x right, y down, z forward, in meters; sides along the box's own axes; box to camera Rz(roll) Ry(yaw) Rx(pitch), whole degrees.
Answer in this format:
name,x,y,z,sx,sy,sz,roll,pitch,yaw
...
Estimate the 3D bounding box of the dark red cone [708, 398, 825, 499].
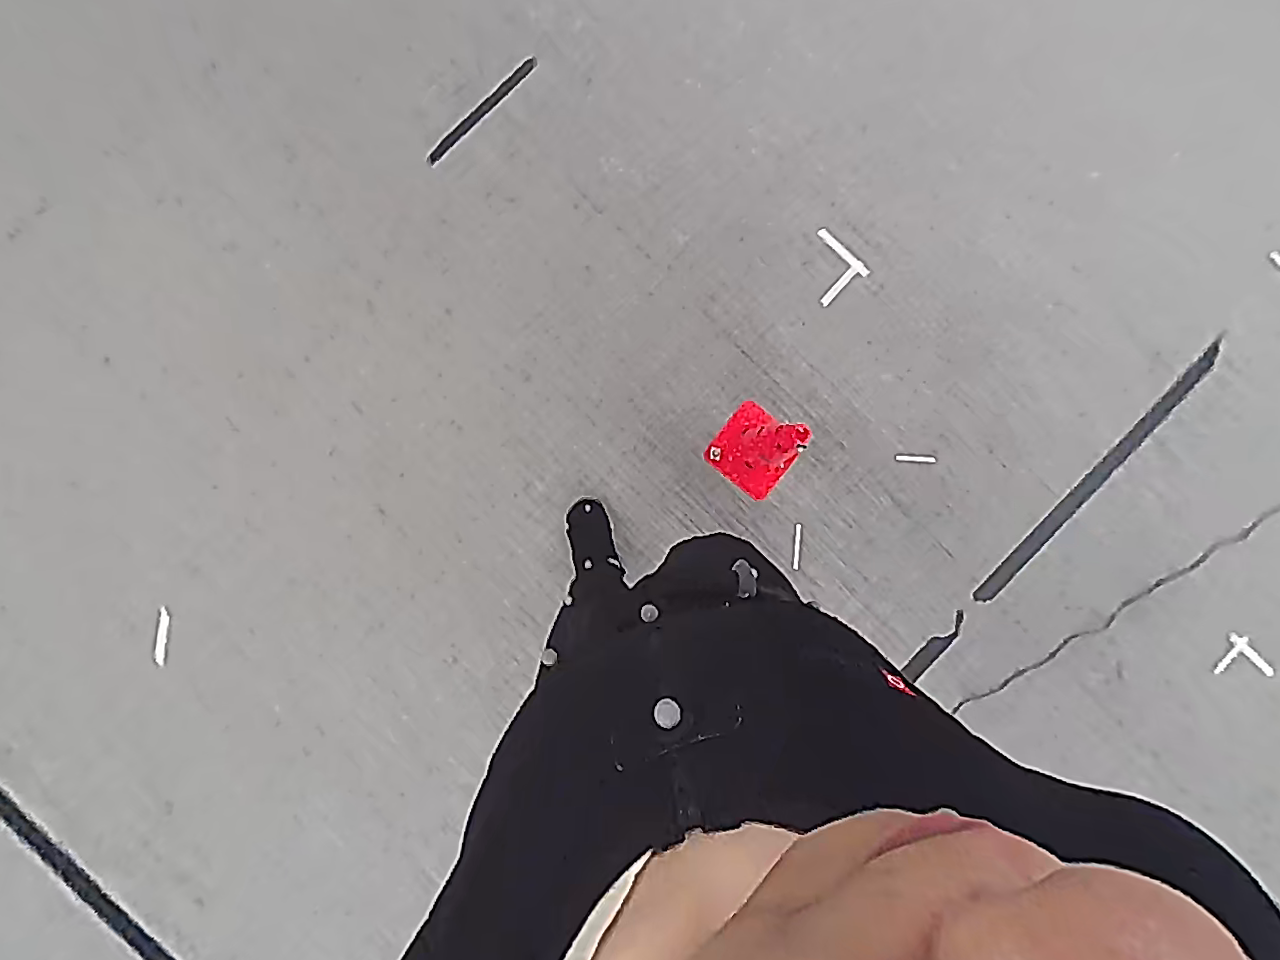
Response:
name,x,y,z,sx,sy,sz,roll,pitch,yaw
dark red cone,0.309,-0.087,1.201,0.201,0.394,0.202,37,86,-2
